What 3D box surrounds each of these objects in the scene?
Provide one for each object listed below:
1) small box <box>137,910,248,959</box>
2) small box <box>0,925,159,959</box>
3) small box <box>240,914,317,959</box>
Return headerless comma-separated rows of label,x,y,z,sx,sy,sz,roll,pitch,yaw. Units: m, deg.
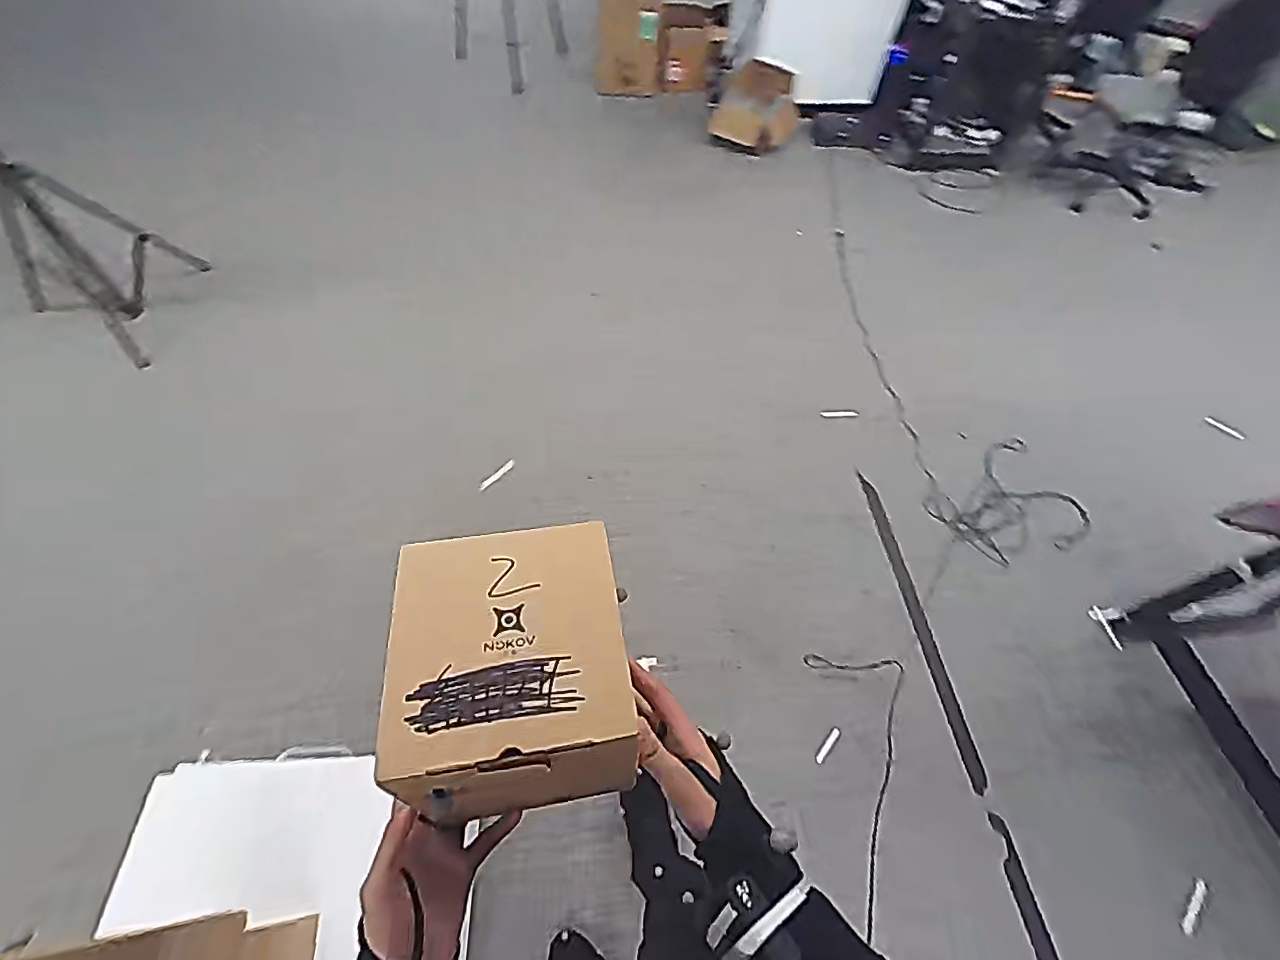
small box,-0.518,0.533,0.512,0.179,0.176,0.168,-7,57,-8
small box,-0.496,0.442,0.375,0.168,0.176,0.179,-4,56,-7
small box,-0.508,0.643,0.634,0.168,0.176,0.179,-7,56,-9
